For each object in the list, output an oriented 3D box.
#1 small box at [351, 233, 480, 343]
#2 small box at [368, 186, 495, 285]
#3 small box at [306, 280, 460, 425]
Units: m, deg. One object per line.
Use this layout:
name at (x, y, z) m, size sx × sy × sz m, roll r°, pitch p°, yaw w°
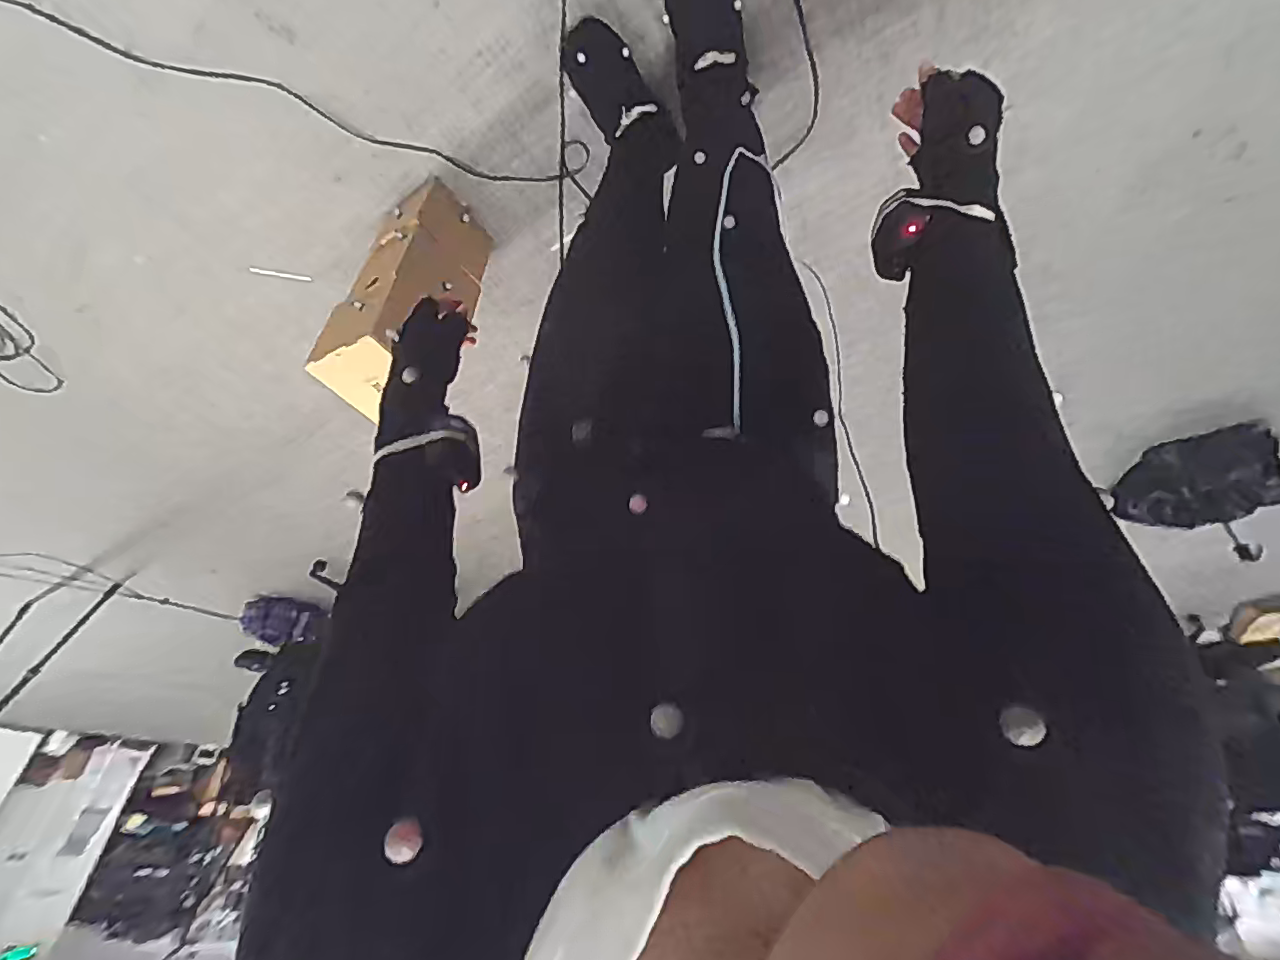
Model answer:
small box at (-0.456, -0.371, 1.104) m, size 0.168 × 0.176 × 0.179 m, roll -18°, pitch 142°, yaw 26°
small box at (-0.451, -0.512, 1.194) m, size 0.168 × 0.176 × 0.179 m, roll -18°, pitch 139°, yaw 30°
small box at (-0.468, -0.236, 1.014) m, size 0.168 × 0.176 × 0.179 m, roll -15°, pitch 142°, yaw 22°
